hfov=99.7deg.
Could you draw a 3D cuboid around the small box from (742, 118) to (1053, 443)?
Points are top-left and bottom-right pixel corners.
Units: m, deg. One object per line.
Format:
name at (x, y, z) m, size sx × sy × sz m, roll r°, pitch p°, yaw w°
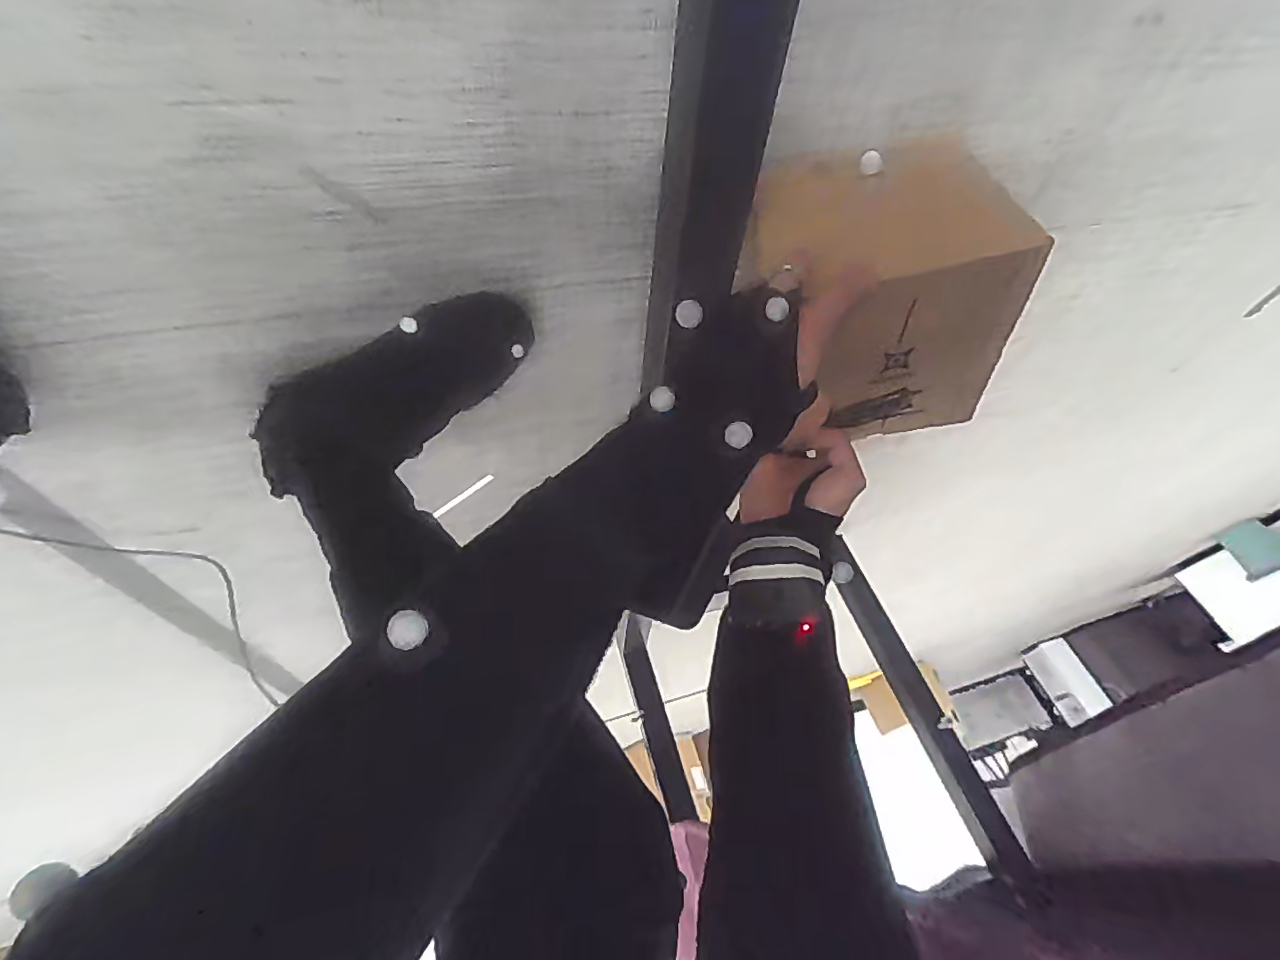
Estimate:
small box at (0.183, -0.158, 0.453) m, size 0.168 × 0.176 × 0.179 m, roll -10°, pitch 145°, yaw 5°
